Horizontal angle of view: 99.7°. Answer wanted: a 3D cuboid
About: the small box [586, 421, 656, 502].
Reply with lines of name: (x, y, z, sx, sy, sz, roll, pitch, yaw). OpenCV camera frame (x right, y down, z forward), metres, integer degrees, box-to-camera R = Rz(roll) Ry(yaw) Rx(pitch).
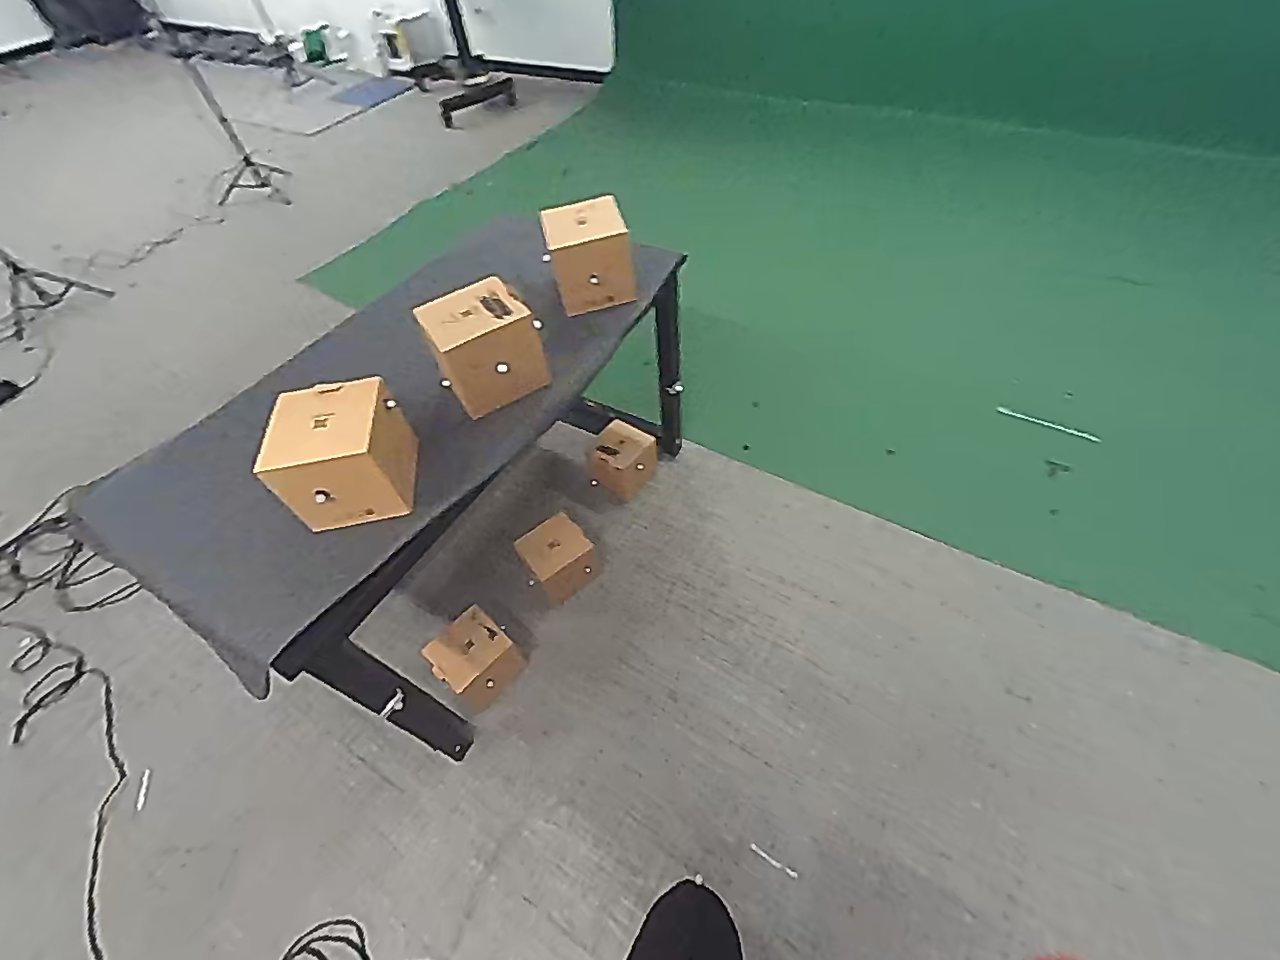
small box: (-0.055, -0.058, 1.800, 0.168, 0.176, 0.179, 29, 59, 24)

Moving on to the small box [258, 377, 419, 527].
small box: (-0.482, -0.039, 0.896, 0.168, 0.176, 0.179, -11, 52, -4)

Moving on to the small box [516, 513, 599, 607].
small box: (-0.234, 0.237, 1.585, 0.179, 0.176, 0.168, -34, 56, -19)

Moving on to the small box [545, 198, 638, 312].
small box: (-0.107, -0.499, 1.217, 0.168, 0.176, 0.179, -14, 52, -3)

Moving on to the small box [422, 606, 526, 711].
small box: (-0.427, 0.473, 1.418, 0.168, 0.176, 0.179, 35, 63, 27)
